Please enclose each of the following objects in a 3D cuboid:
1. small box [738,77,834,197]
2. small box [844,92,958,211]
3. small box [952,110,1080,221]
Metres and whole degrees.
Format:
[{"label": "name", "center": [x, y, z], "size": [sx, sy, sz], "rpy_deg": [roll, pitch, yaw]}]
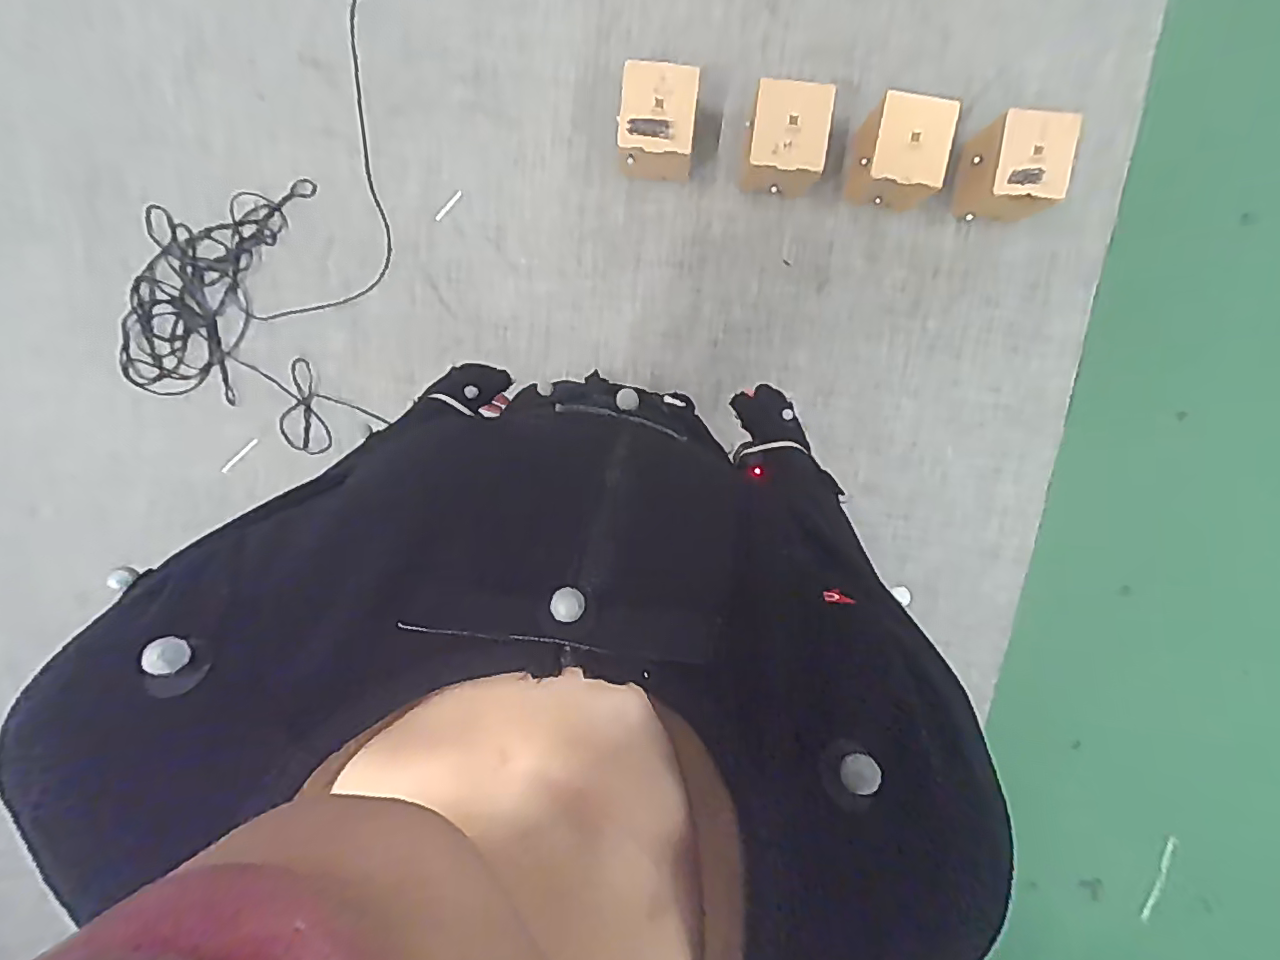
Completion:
[{"label": "small box", "center": [0.328, -0.783, 1.248], "size": [0.168, 0.176, 0.179], "rpy_deg": [7, 101, 0]}, {"label": "small box", "center": [0.594, -0.752, 1.254], "size": [0.168, 0.176, 0.179], "rpy_deg": [8, 101, -1]}, {"label": "small box", "center": [0.861, -0.720, 1.257], "size": [0.168, 0.176, 0.179], "rpy_deg": [5, 100, -1]}]
